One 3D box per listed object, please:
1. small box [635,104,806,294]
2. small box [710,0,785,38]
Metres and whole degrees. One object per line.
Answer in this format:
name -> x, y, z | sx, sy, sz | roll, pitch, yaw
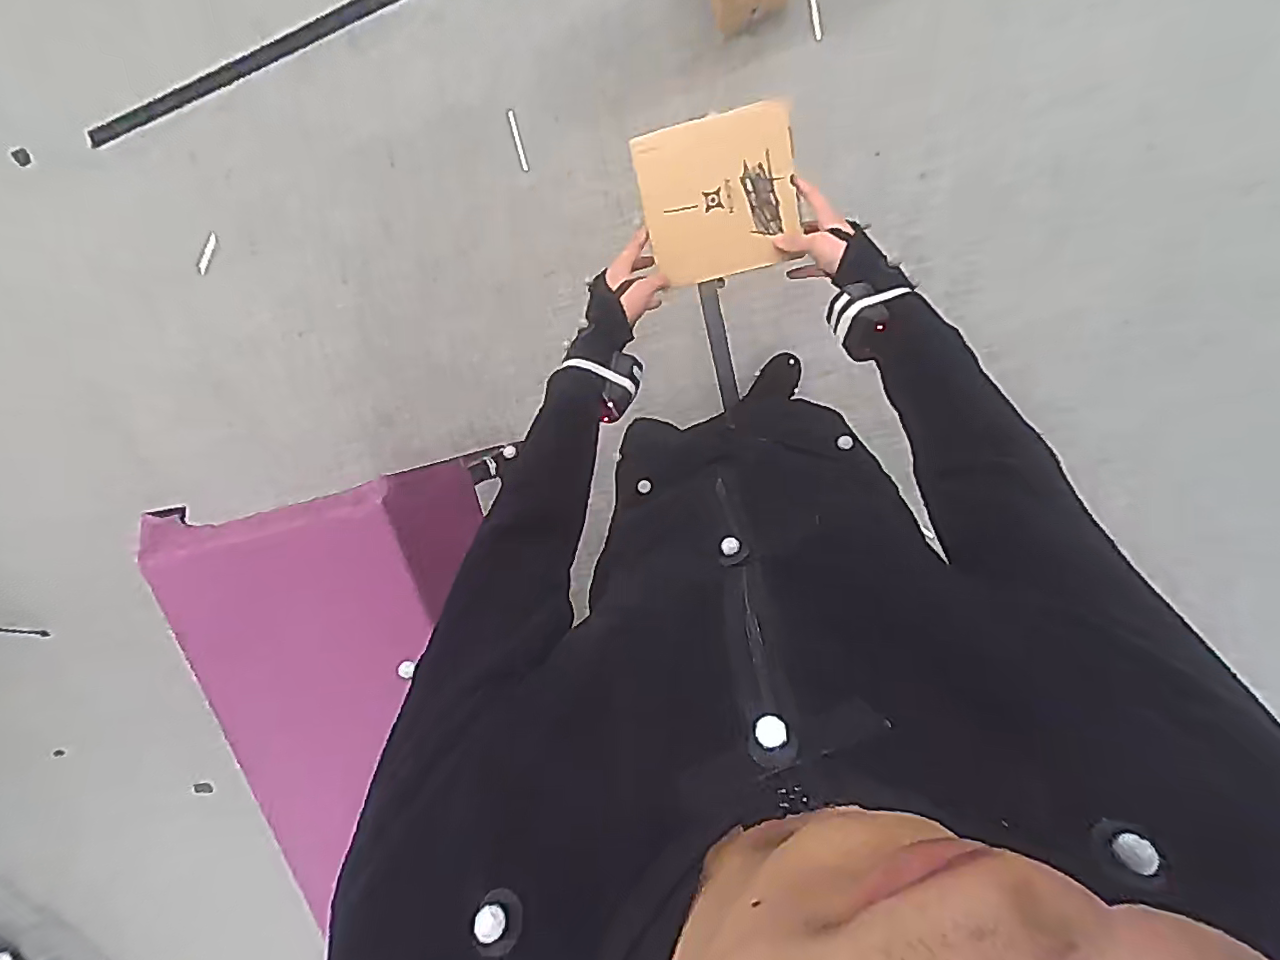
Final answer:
small box -> 0.095, -0.342, 0.687 | 0.179, 0.176, 0.168 | -11, 110, 6
small box -> 0.236, -1.175, 1.233 | 0.168, 0.176, 0.179 | -16, 102, 13
